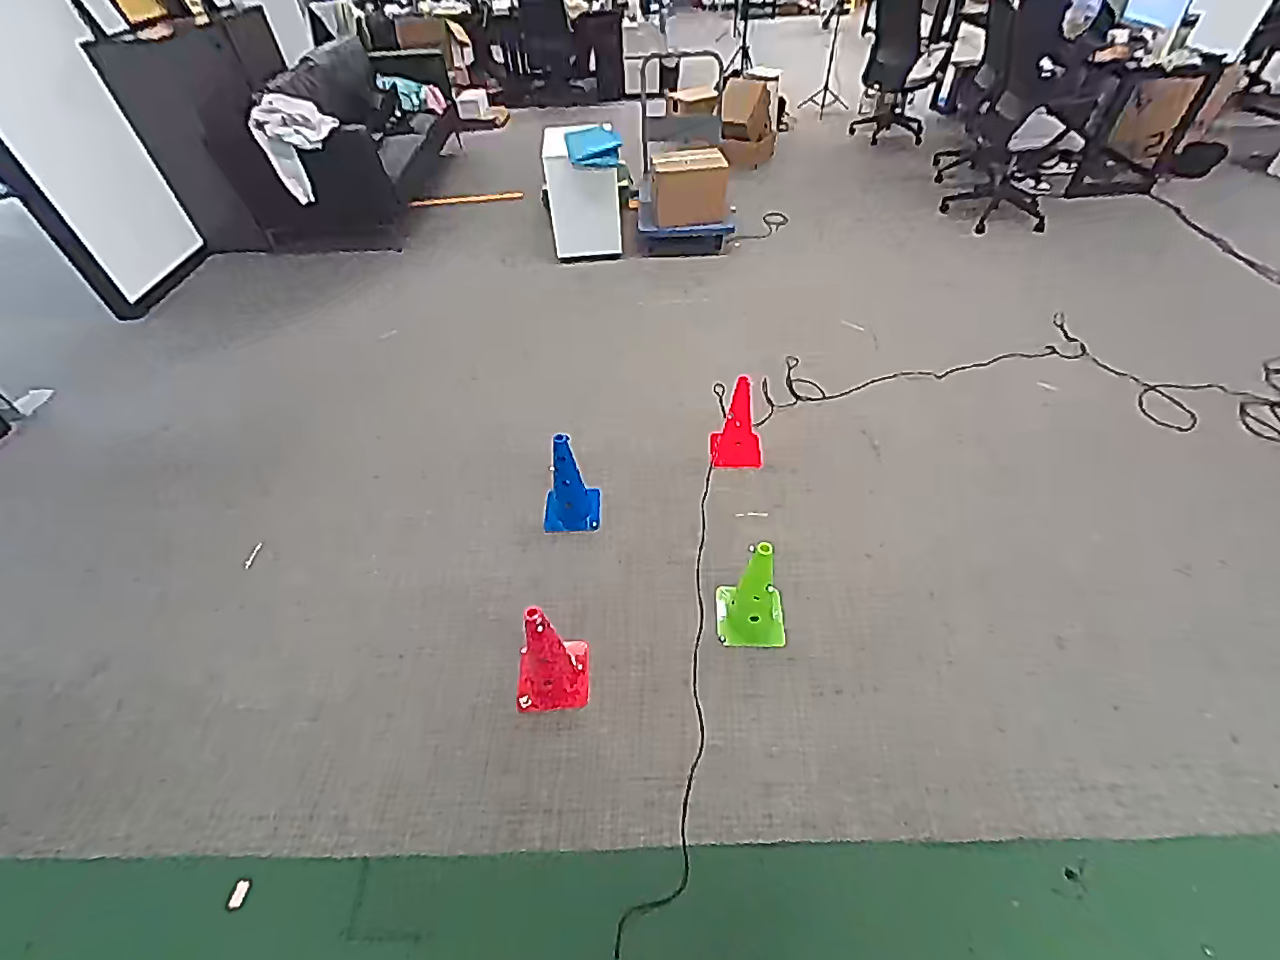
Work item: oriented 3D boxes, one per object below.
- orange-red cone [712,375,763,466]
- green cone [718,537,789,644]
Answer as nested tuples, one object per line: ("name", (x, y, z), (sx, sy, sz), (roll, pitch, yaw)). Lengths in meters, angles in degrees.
("orange-red cone", (0.377, -0.242, 2.035), (0.198, 0.360, 0.199), (1, 49, 5))
("green cone", (0.340, 0.291, 1.535), (0.200, 0.368, 0.202), (0, 46, 3))
